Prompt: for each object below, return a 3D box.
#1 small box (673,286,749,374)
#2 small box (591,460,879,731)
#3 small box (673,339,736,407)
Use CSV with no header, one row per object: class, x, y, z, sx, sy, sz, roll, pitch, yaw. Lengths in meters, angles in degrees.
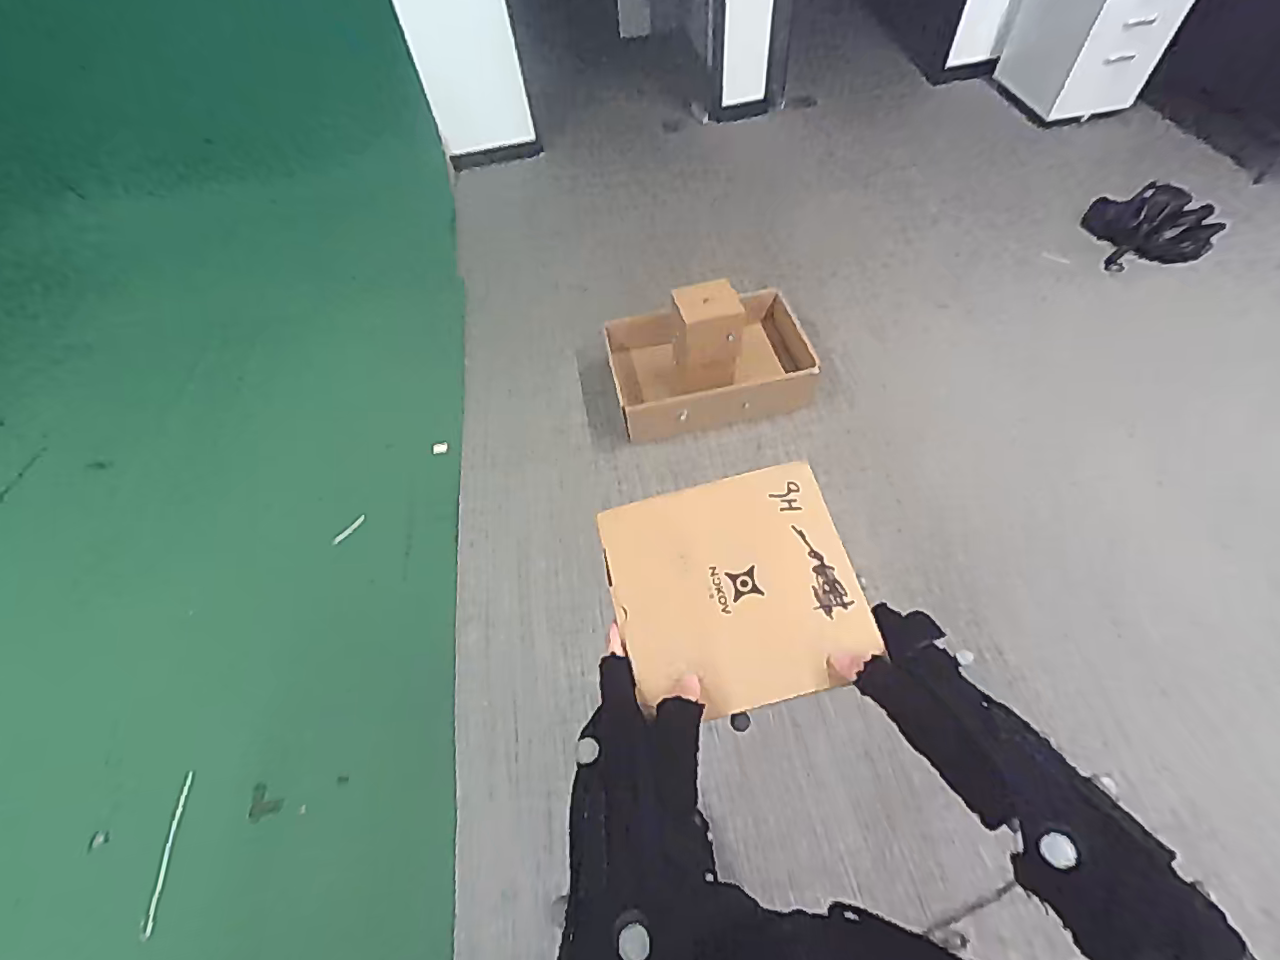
small box,0.204,-0.444,1.608,0.179,0.176,0.168,-17,55,-7
small box,0.070,0.111,0.476,0.179,0.176,0.168,-16,63,-3
small box,0.208,-0.355,1.763,0.168,0.176,0.179,-12,55,-3
